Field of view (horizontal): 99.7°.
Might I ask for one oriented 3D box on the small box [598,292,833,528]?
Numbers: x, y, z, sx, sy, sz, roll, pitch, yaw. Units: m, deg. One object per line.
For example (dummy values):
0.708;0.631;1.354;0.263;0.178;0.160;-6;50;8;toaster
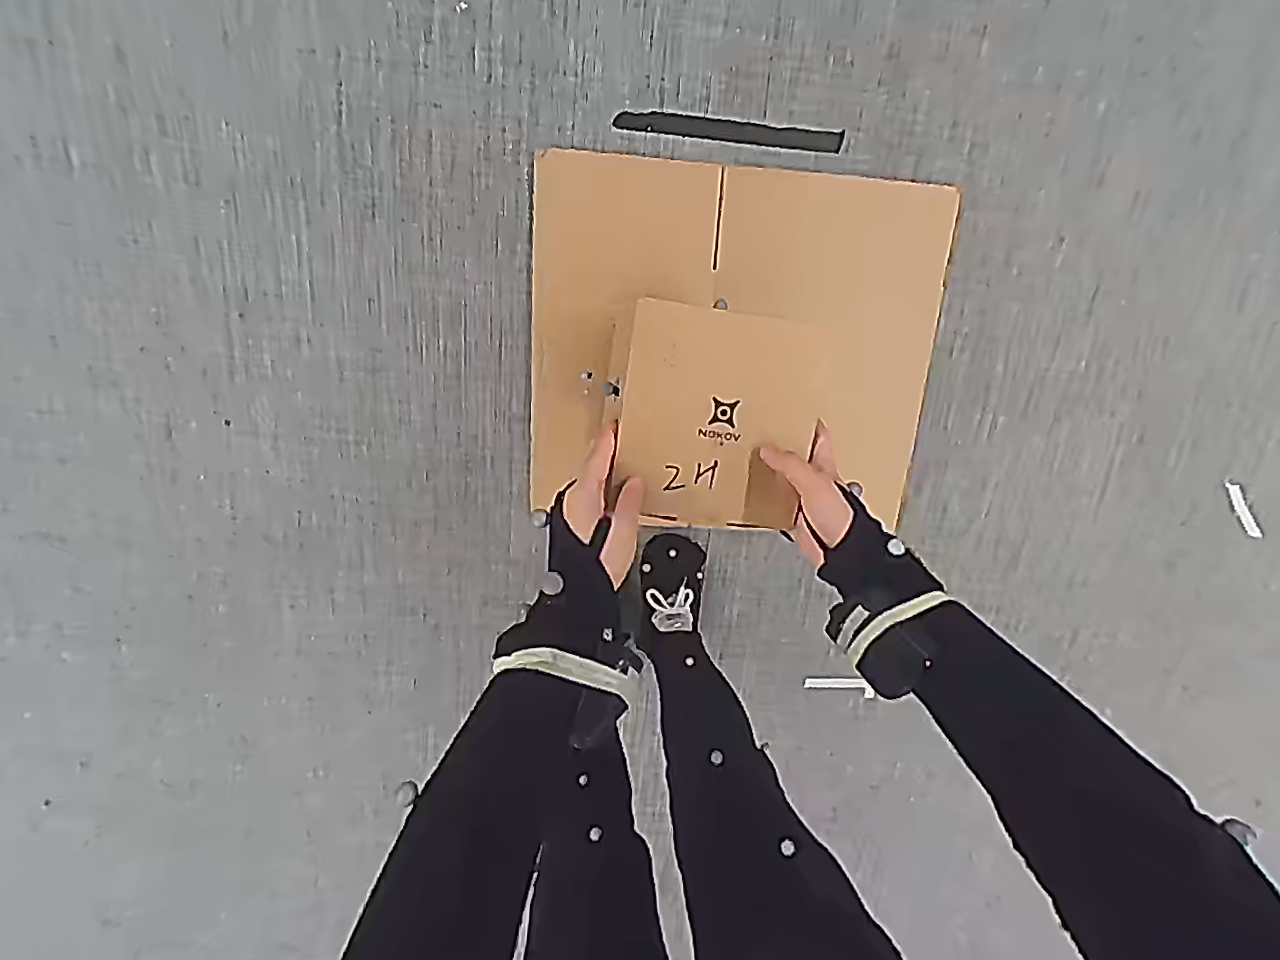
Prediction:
0.054;-0.070;0.518;0.168;0.176;0.179;7;104;-9;small box
